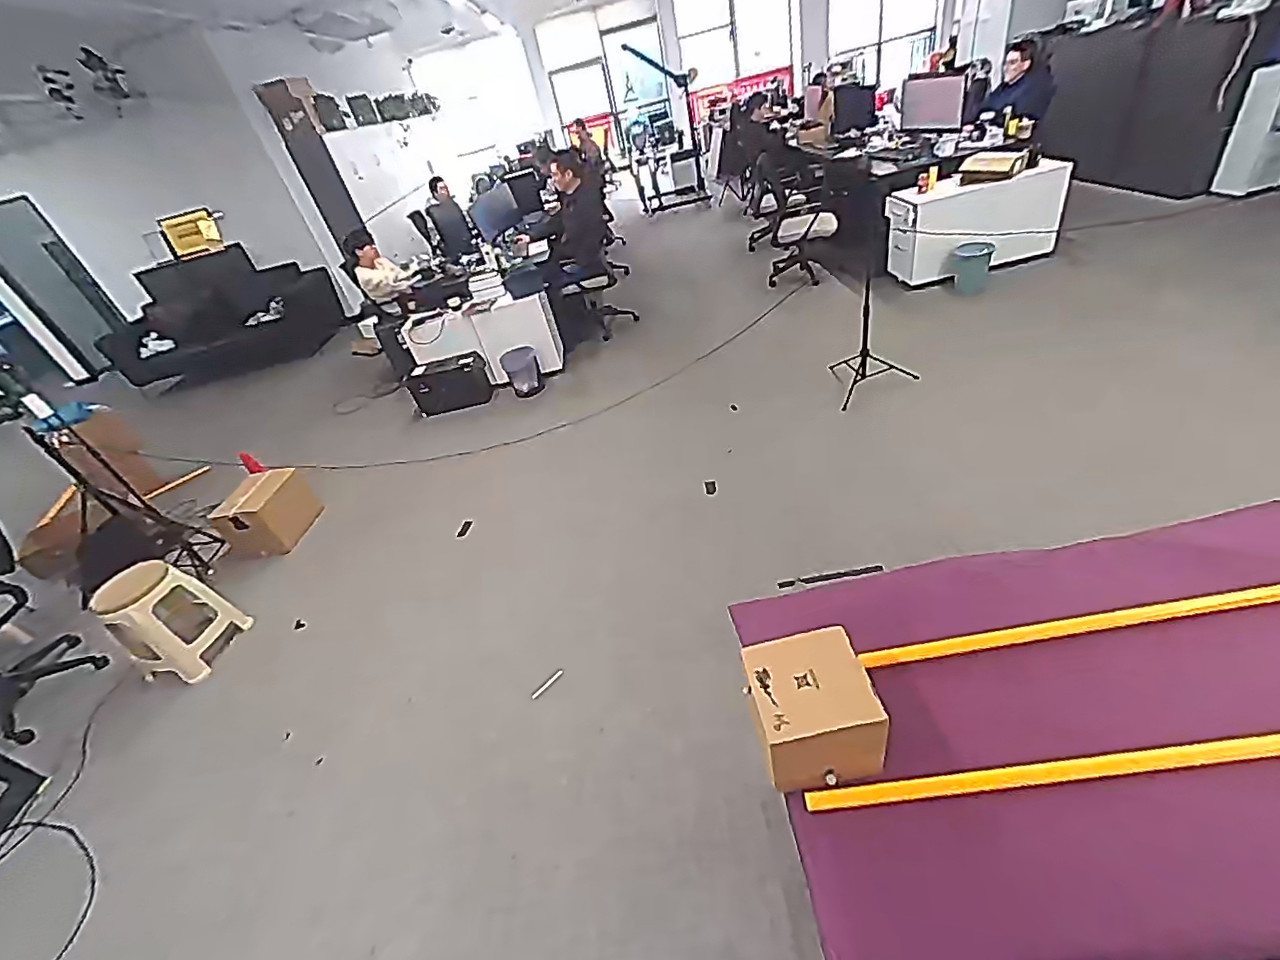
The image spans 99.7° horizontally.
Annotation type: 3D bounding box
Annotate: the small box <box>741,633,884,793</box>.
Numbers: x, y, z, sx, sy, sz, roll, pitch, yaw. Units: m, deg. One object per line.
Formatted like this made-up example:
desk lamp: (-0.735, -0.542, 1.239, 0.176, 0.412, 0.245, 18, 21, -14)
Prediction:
small box: (0.274, 0.383, 0.888, 0.179, 0.176, 0.168, -13, 37, 3)
